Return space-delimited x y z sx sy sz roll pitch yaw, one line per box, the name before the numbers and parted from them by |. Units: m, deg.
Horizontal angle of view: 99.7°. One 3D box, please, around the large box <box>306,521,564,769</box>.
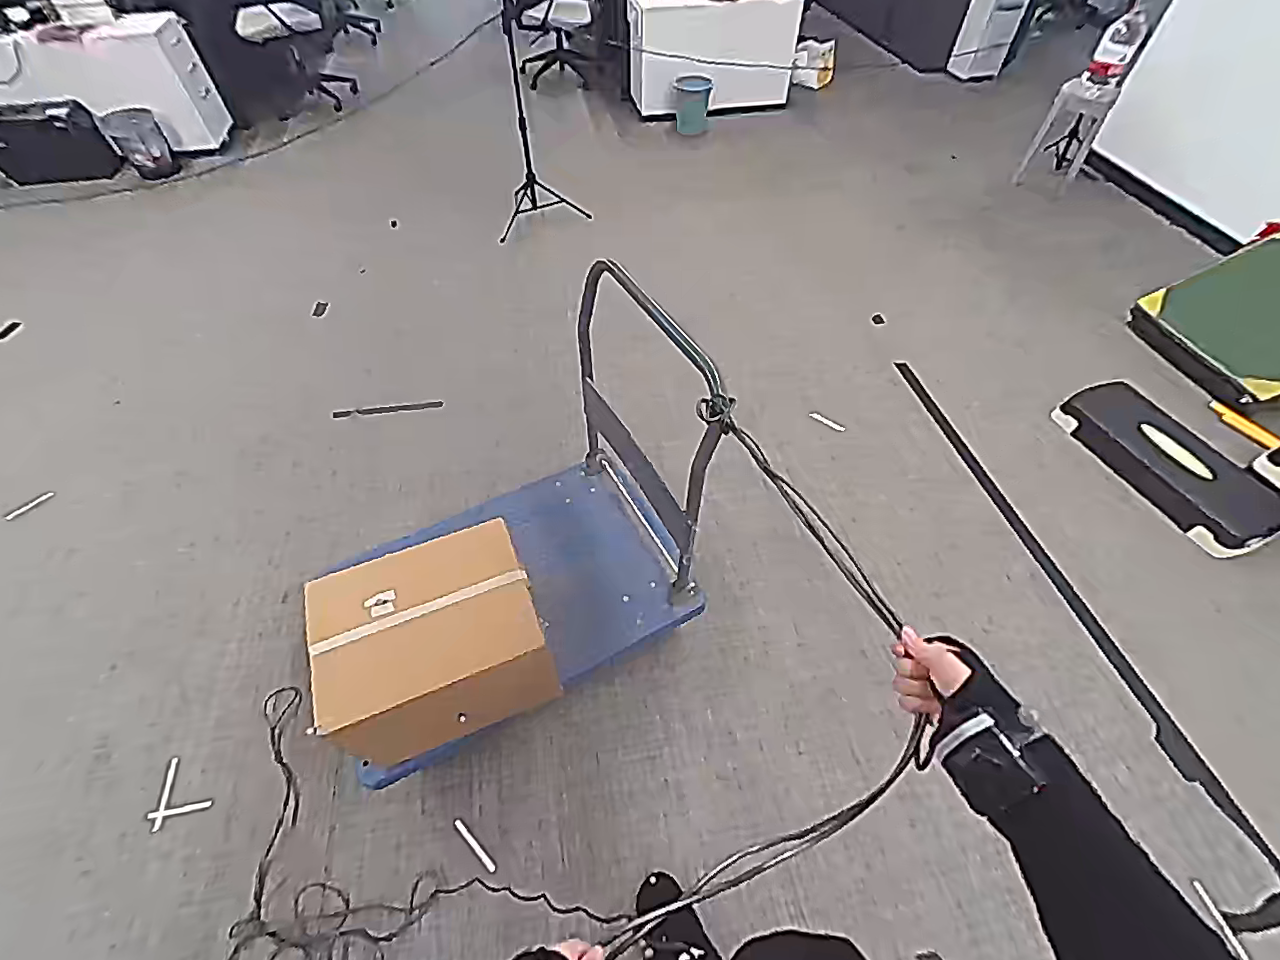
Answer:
large box | -0.414 0.350 1.149 0.408 0.320 0.320 -20 54 -14
